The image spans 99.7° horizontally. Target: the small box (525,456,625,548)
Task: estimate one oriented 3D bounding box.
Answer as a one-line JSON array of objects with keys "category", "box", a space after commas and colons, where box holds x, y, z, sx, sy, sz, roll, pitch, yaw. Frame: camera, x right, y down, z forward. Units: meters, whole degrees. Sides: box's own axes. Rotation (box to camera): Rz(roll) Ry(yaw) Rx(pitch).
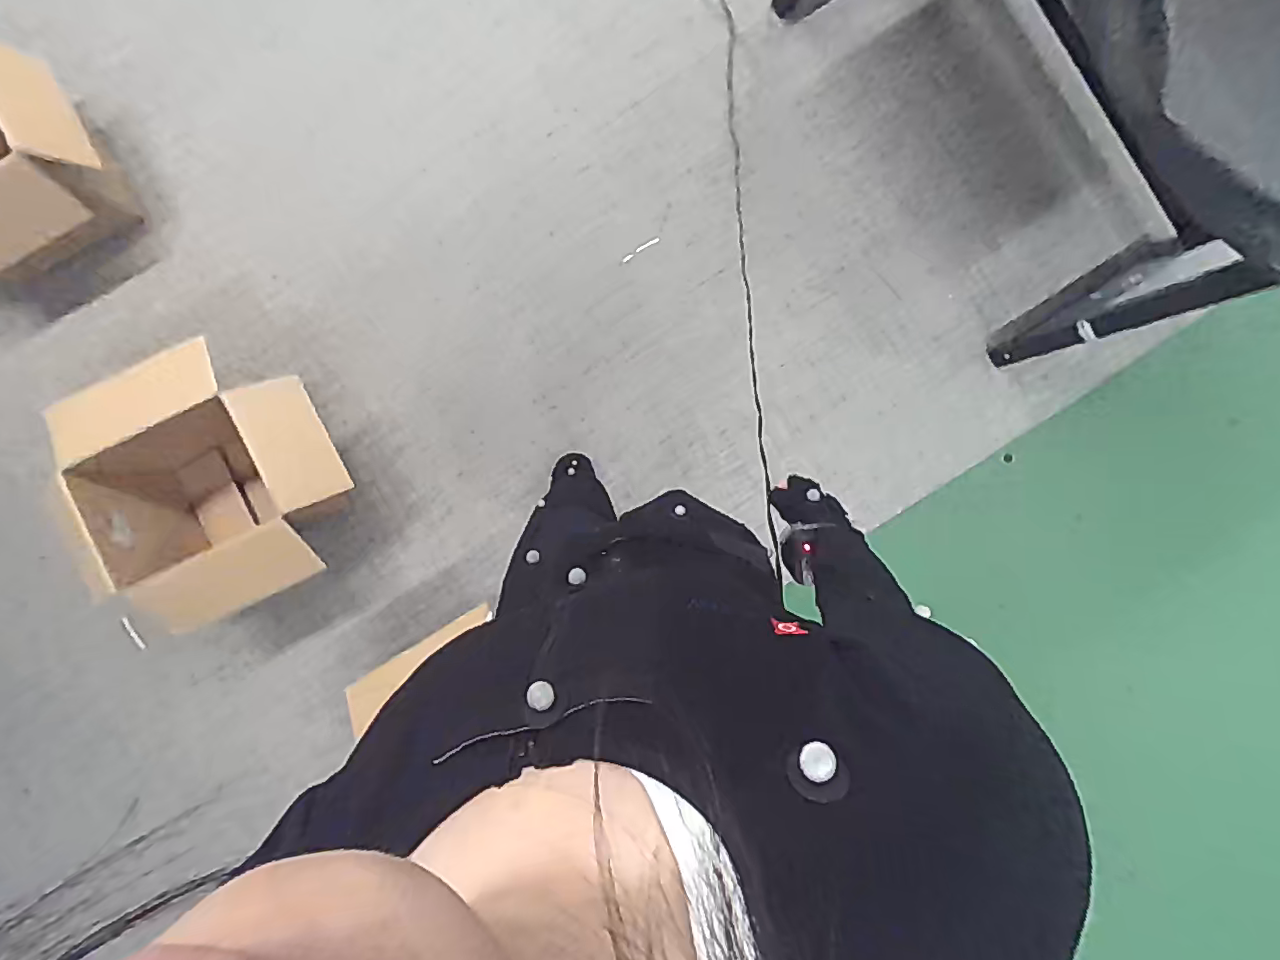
[{"category": "small box", "box": [-0.173, 0.059, 1.408, 0.179, 0.176, 0.168, 42, 96, 20]}]
